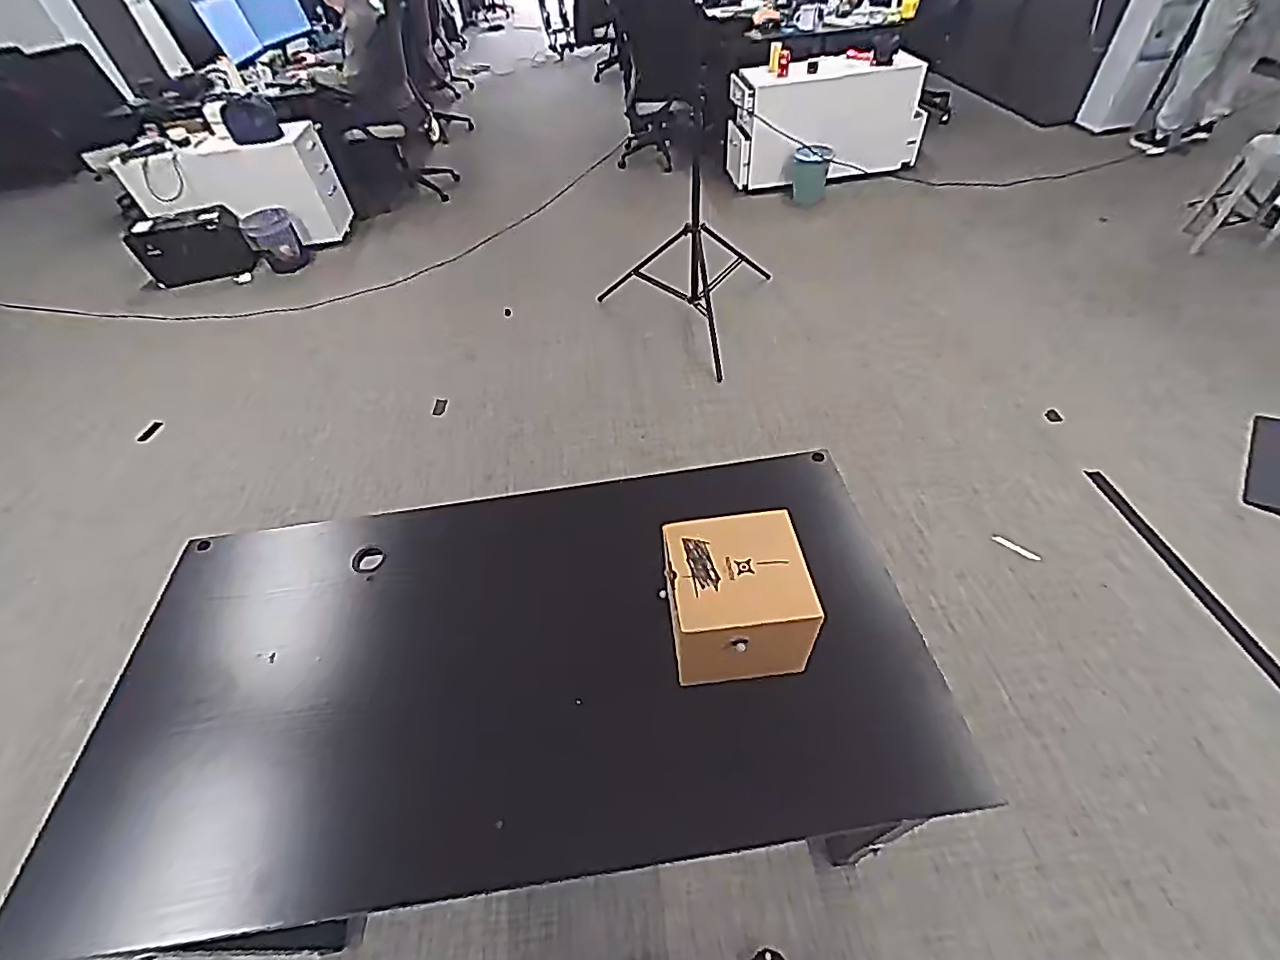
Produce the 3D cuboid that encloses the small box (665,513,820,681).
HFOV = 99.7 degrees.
[{"bbox_3d":[0.135,0.170,0.767,0.179,0.176,0.168,-6,48,0],"label":"small box"}]
